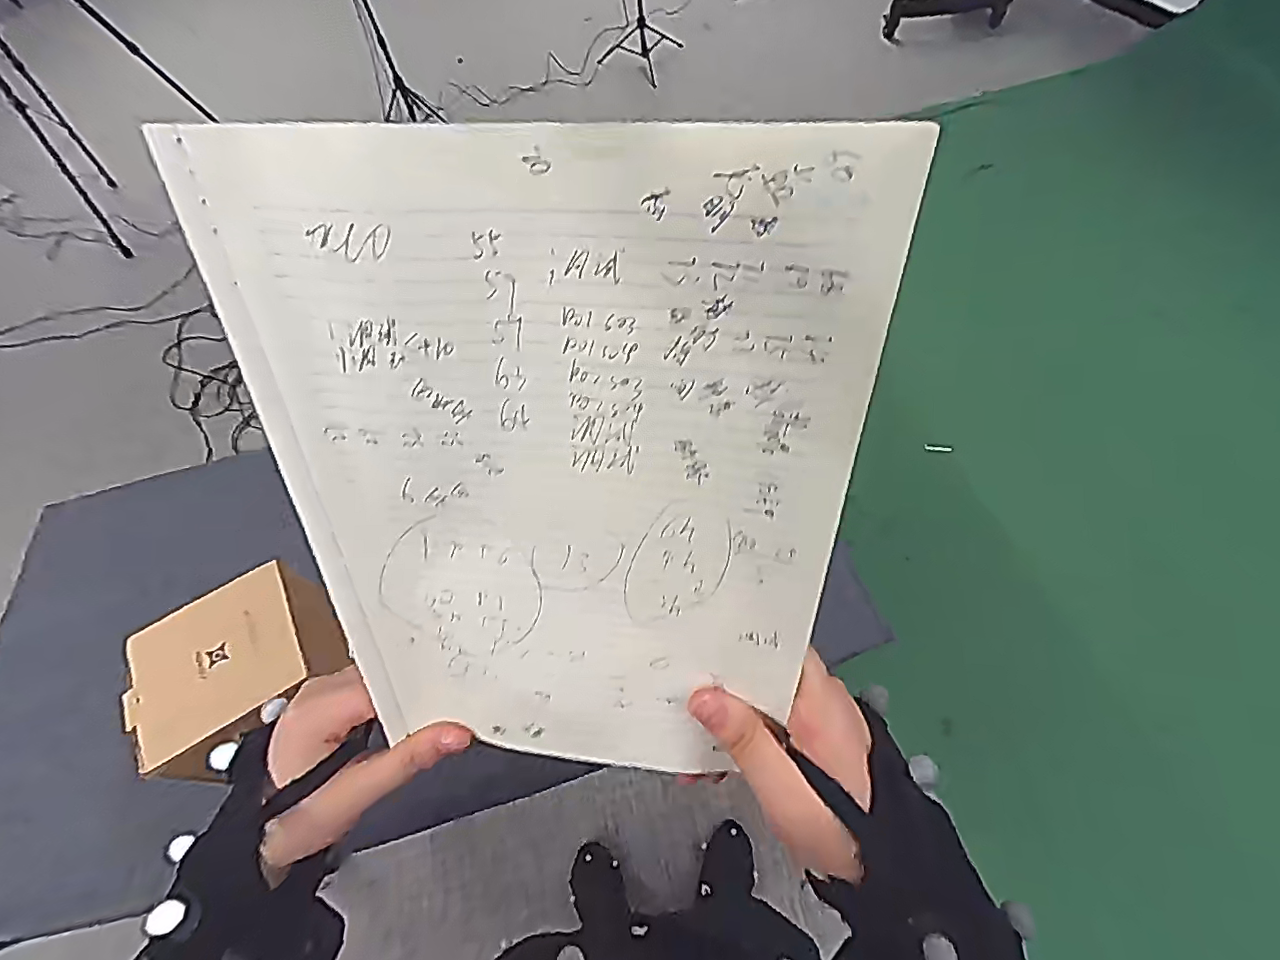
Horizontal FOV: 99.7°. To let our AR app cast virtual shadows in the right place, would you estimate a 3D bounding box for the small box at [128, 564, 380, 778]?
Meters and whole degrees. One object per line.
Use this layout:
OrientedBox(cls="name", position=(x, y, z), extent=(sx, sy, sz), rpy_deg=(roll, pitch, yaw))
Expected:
OrientedBox(cls="small box", position=(-0.461, 0.240, 0.663), extent=(0.179, 0.176, 0.168), rpy_deg=(-31, 61, -14))
